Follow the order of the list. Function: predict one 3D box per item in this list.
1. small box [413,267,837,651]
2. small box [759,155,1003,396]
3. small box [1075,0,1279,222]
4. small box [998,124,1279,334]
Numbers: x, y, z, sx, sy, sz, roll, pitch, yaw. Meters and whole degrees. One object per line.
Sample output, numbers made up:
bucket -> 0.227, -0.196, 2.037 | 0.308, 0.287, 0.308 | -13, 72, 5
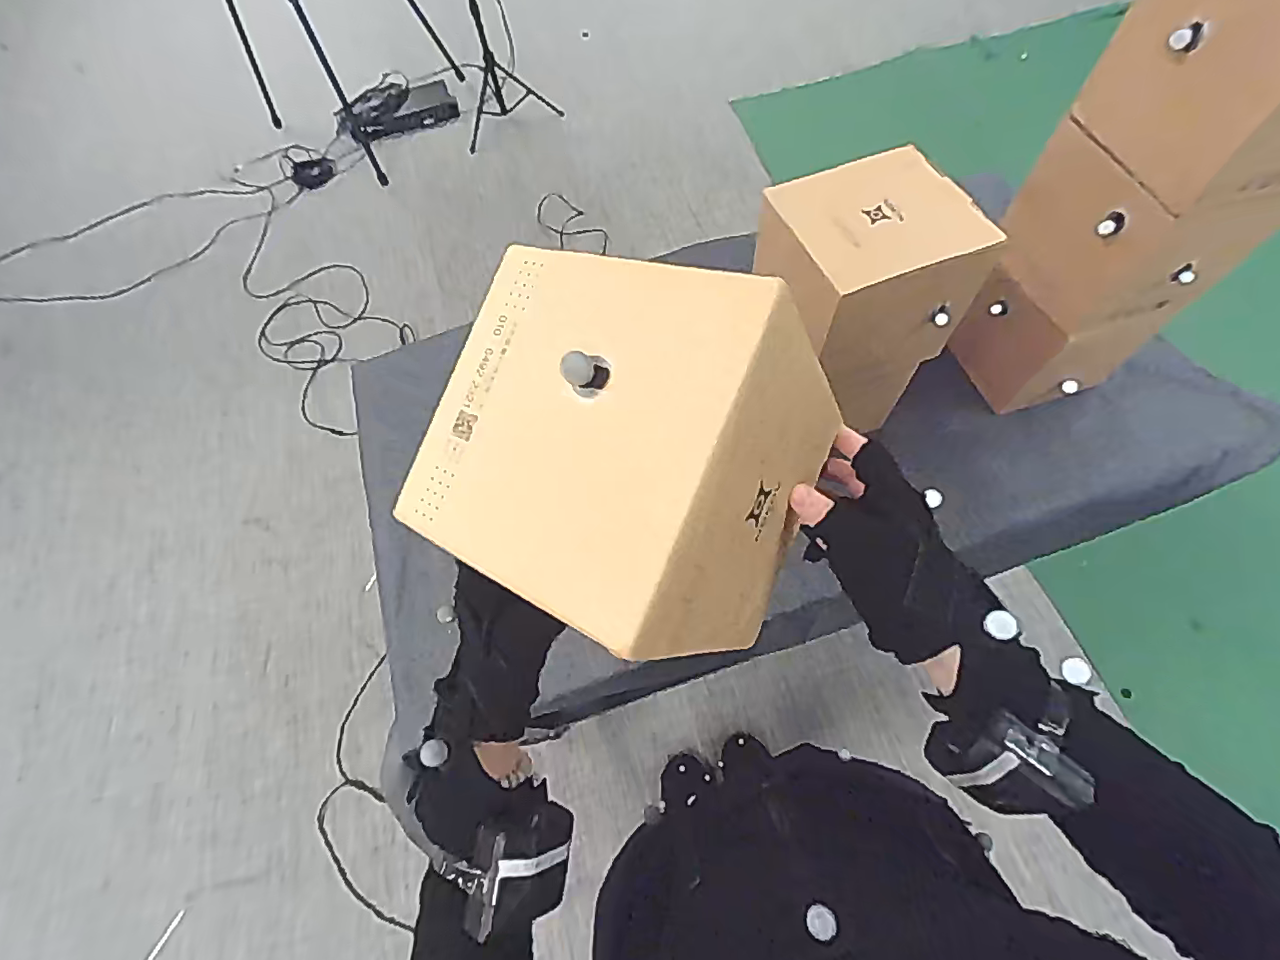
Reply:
small box -> 0.000, -0.011, 0.331 | 0.176, 0.179, 0.168 | 21, 86, 29
small box -> 0.244, -0.218, 0.608 | 0.179, 0.176, 0.168 | -19, 62, -5
small box -> 0.542, -0.361, 0.468 | 0.168, 0.176, 0.179 | -14, 62, -1
small box -> 0.557, -0.289, 0.615 | 0.168, 0.176, 0.179 | -15, 63, -3
